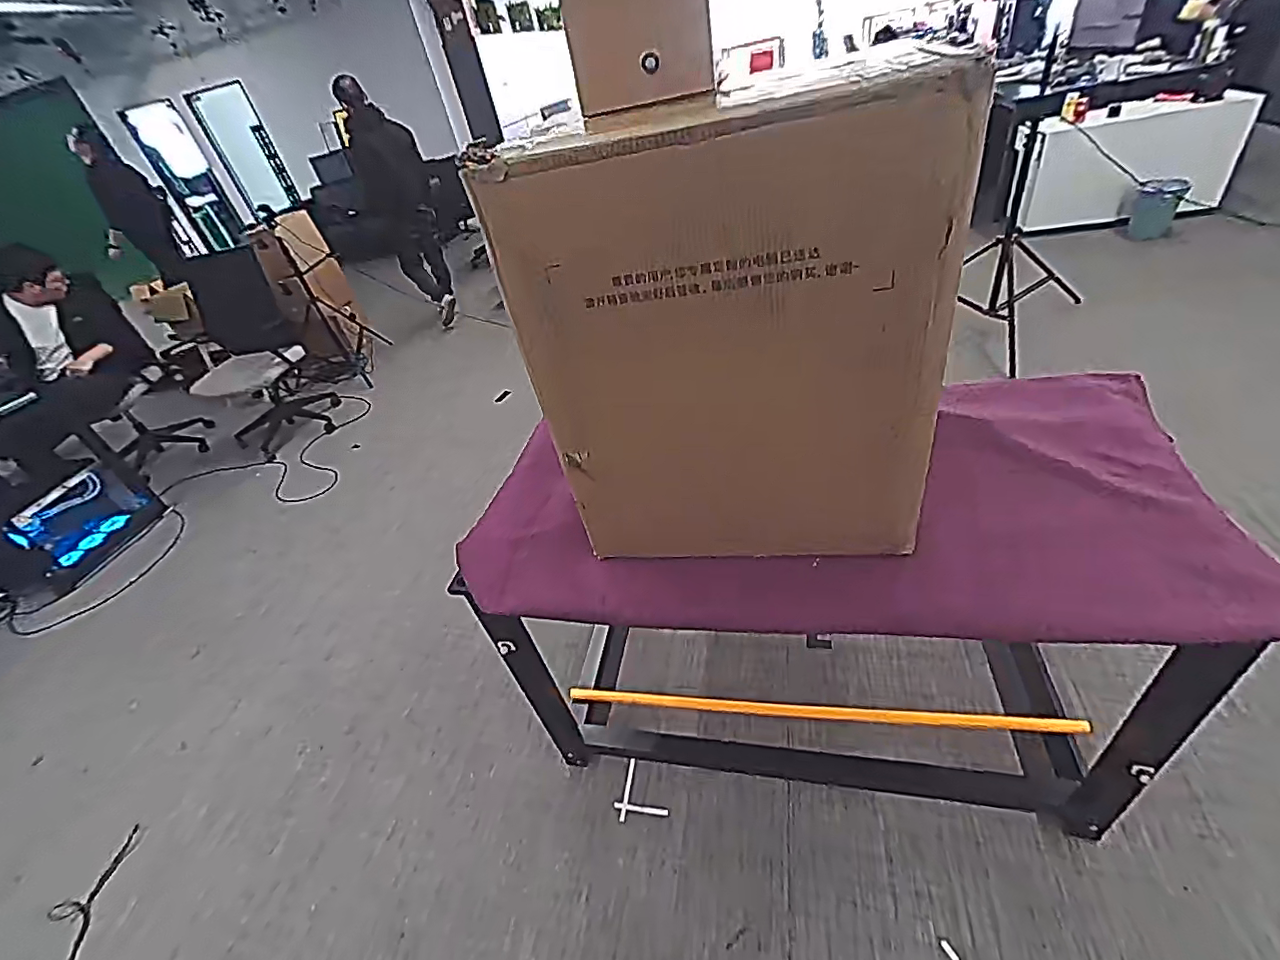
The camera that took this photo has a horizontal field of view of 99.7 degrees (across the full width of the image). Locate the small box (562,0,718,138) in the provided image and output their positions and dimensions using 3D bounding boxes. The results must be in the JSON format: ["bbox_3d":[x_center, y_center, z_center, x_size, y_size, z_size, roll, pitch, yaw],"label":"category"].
[{"bbox_3d":[0.007,-0.576,0.711,0.179,0.176,0.168,-3,39,12],"label":"small box"}]
